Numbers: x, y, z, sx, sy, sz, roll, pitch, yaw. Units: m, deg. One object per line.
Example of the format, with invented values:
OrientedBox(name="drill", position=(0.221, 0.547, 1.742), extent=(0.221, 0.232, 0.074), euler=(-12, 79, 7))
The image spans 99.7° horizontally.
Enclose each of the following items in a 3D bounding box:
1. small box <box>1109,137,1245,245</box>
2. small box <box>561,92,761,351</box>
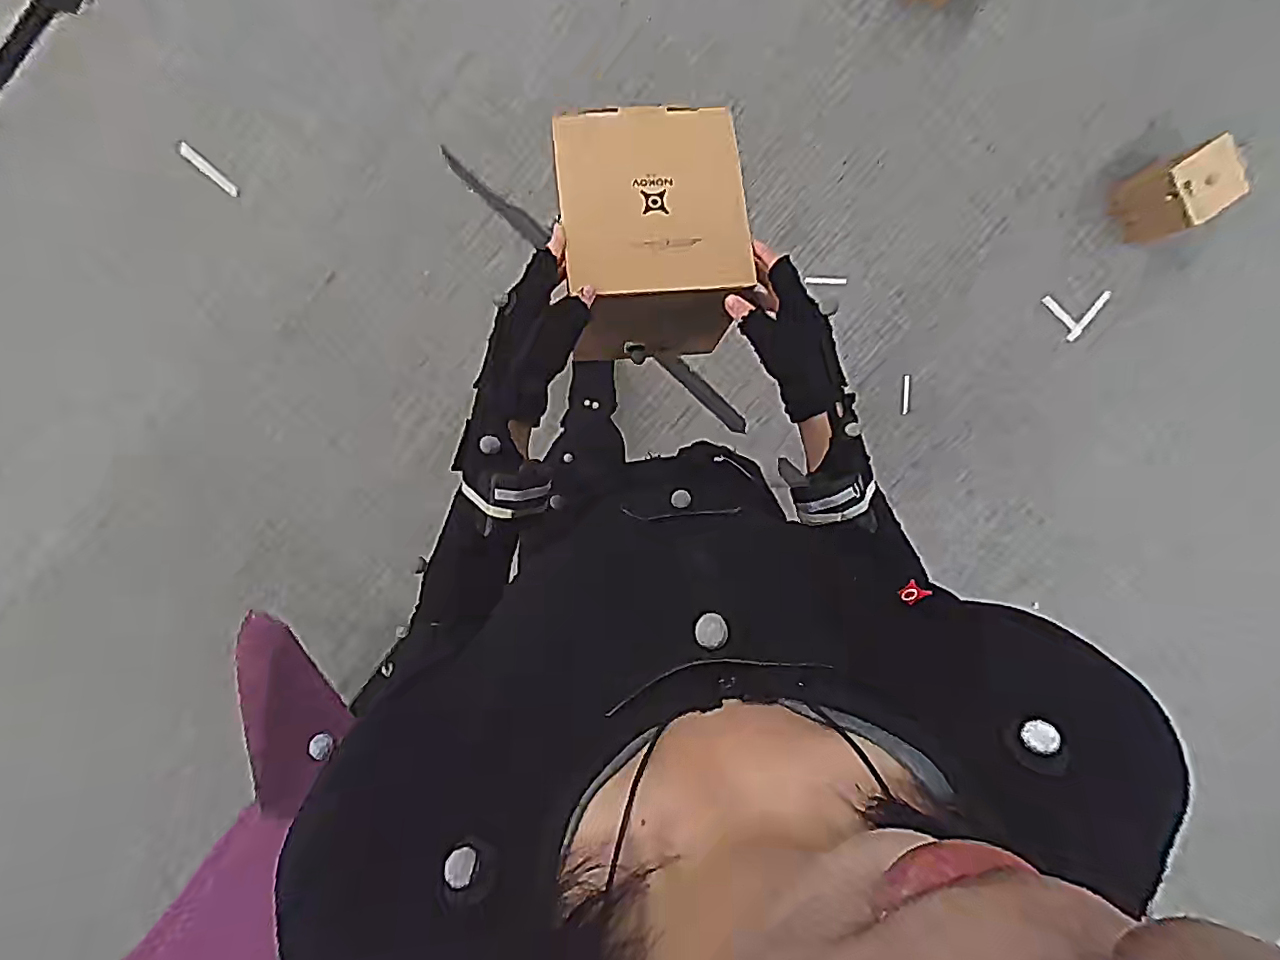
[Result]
OrientedBox(name="small box", position=(1.432, -0.767, 1.452), extent=(0.179, 0.176, 0.168), euler=(-35, 100, 0))
OrientedBox(name="small box", position=(0.009, -0.246, 0.546), extent=(0.168, 0.176, 0.179), euler=(-5, 84, -6))
